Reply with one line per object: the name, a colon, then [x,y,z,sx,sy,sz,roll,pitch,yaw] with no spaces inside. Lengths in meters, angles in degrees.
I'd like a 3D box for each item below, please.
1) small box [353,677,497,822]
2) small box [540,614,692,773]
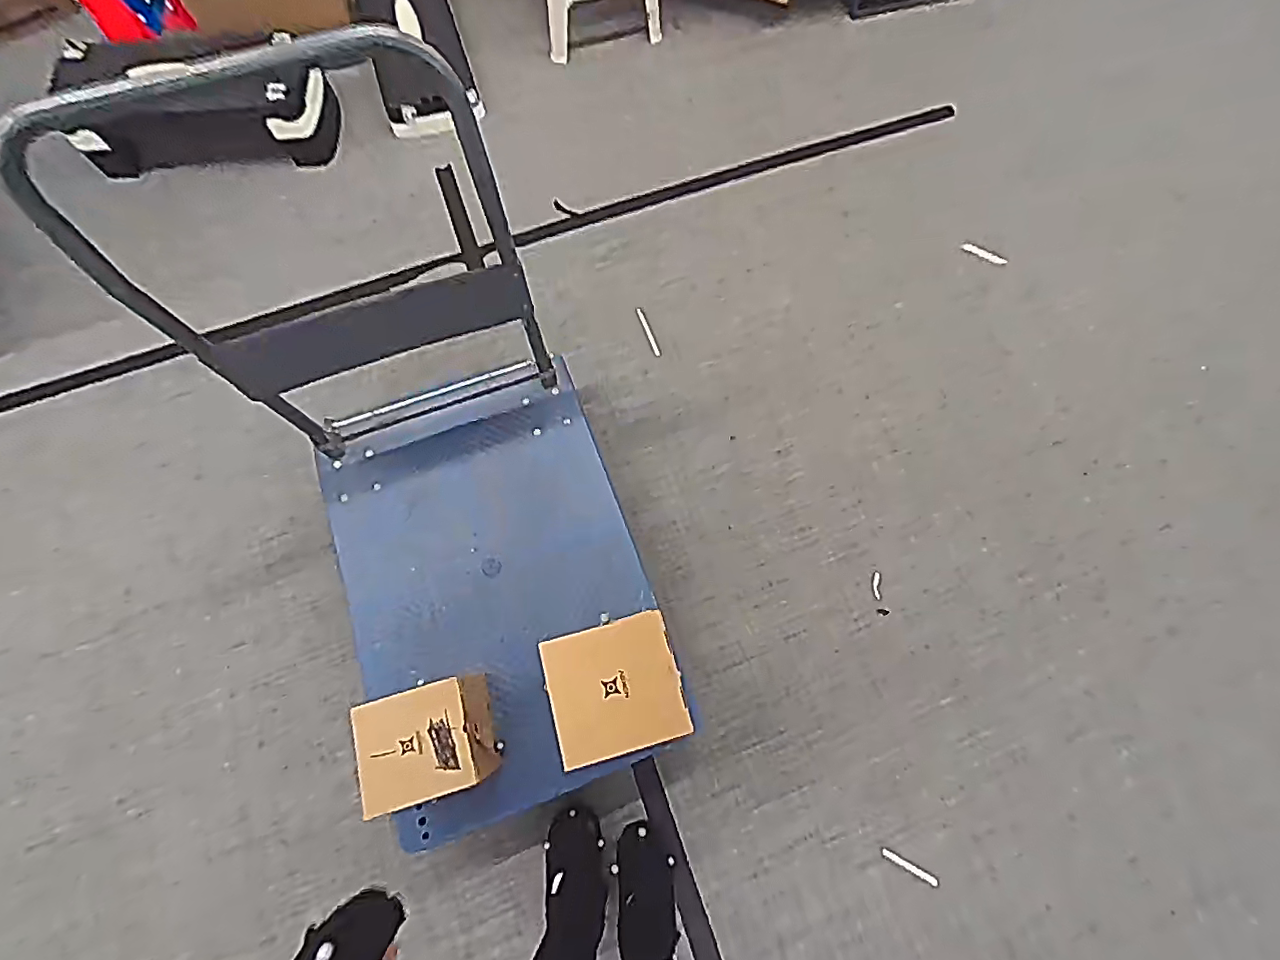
small box: [-0.352,0.442,0.918,0.179,0.176,0.168,-16,73,-5]
small box: [-0.035,0.307,0.797,0.179,0.176,0.168,-14,73,-7]
